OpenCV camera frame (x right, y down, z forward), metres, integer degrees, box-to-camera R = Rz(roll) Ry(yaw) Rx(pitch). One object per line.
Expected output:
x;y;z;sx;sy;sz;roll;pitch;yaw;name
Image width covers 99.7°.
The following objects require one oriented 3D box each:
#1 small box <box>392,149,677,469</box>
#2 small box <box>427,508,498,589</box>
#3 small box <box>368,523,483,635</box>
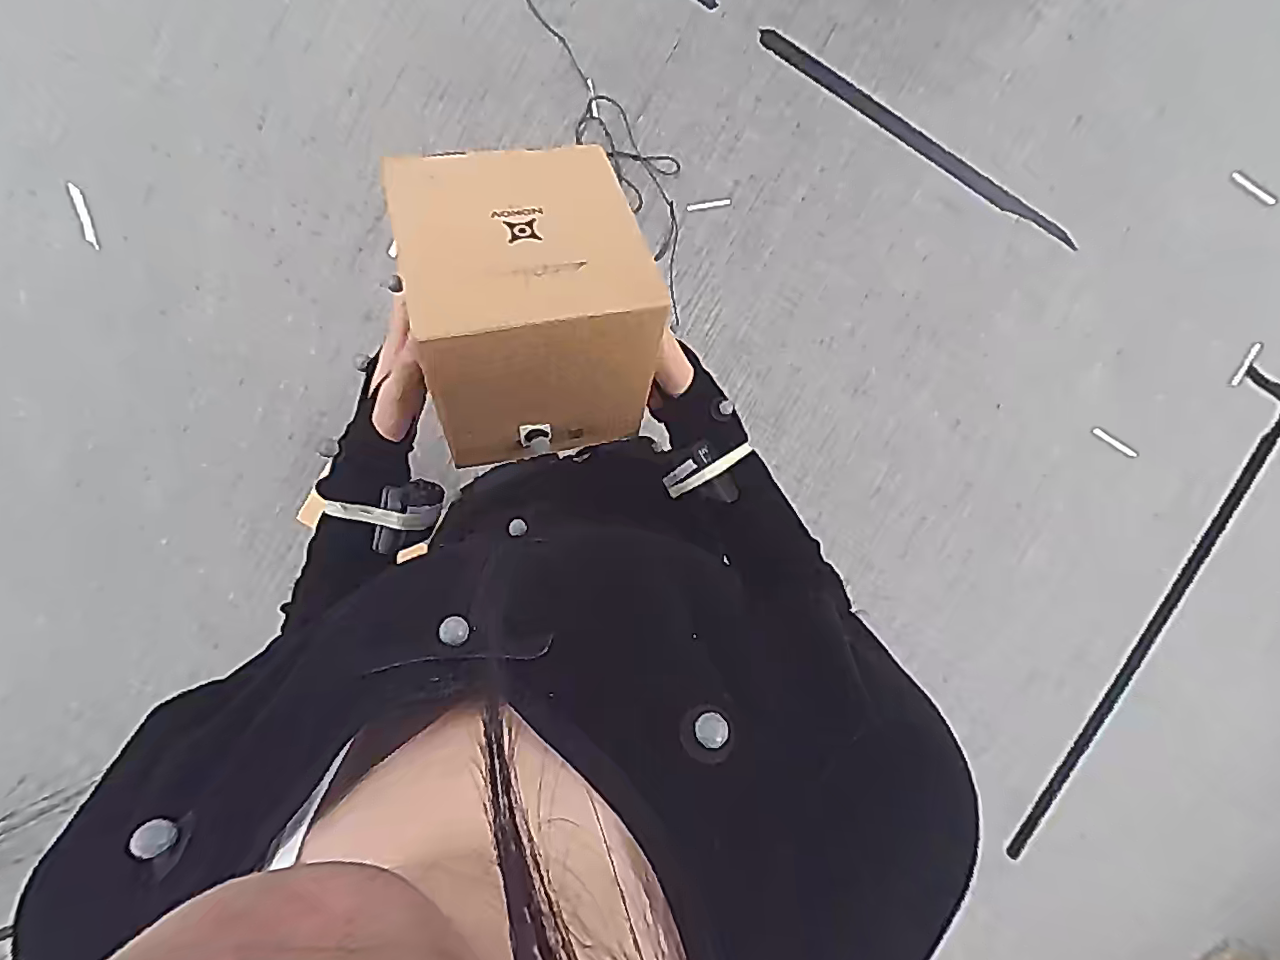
-0.088;-0.133;0.440;0.168;0.176;0.179;-13;66;-15;small box
-0.487;0.193;1.400;0.168;0.176;0.179;32;92;-6;small box
-0.478;0.217;1.237;0.168;0.176;0.179;29;93;-6;small box
